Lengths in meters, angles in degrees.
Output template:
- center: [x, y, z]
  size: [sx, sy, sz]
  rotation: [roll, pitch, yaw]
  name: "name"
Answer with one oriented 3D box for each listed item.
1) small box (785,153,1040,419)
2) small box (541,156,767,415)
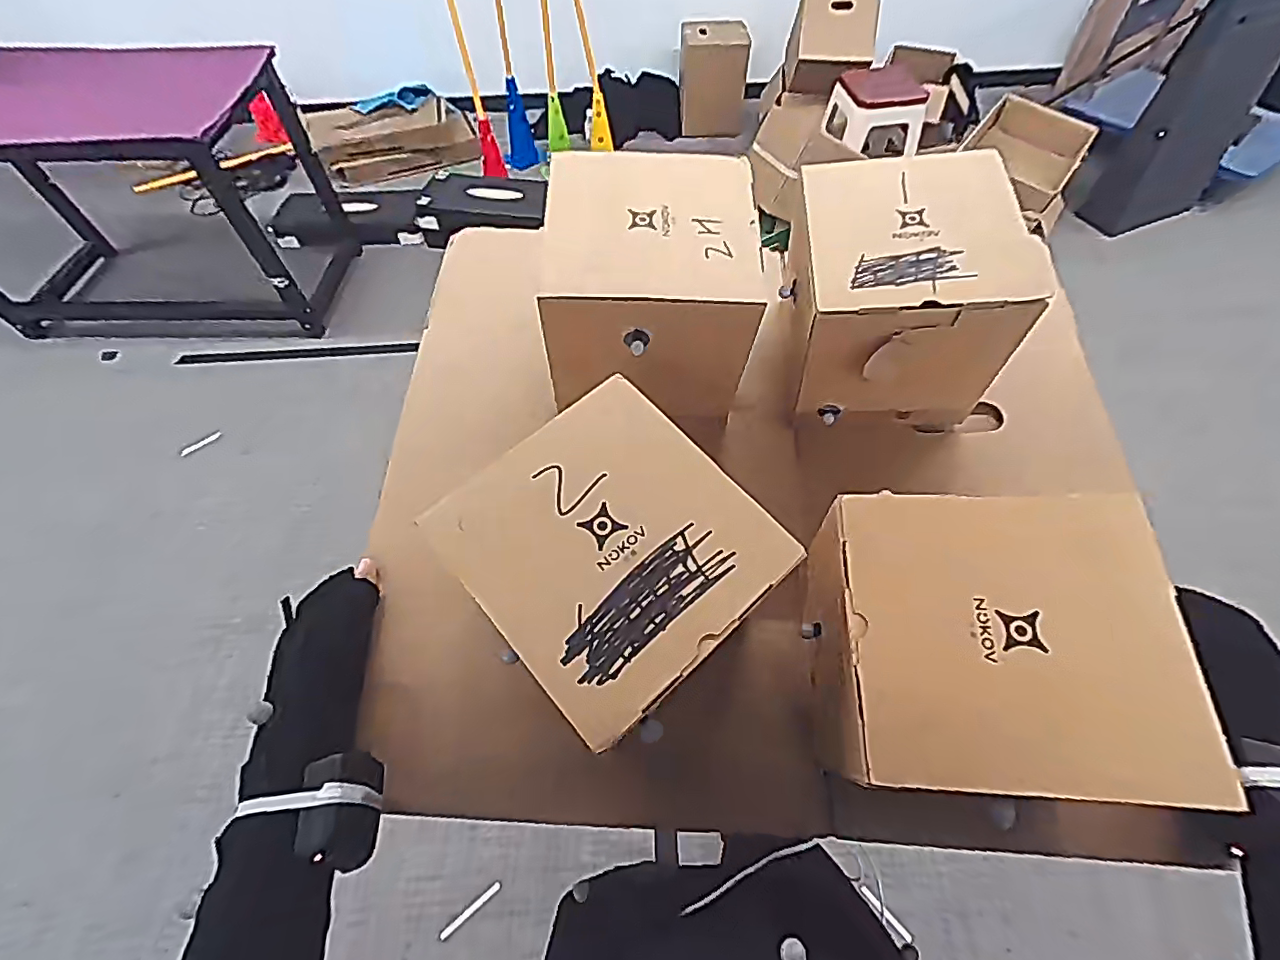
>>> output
- center: [0.232, -0.169, 0.514]
  size: [0.168, 0.176, 0.179]
  rotation: [0, 63, 9]
  name: "small box"
- center: [0.010, -0.174, 0.516]
  size: [0.179, 0.176, 0.168]
  rotation: [2, 66, -2]
  name: "small box"
